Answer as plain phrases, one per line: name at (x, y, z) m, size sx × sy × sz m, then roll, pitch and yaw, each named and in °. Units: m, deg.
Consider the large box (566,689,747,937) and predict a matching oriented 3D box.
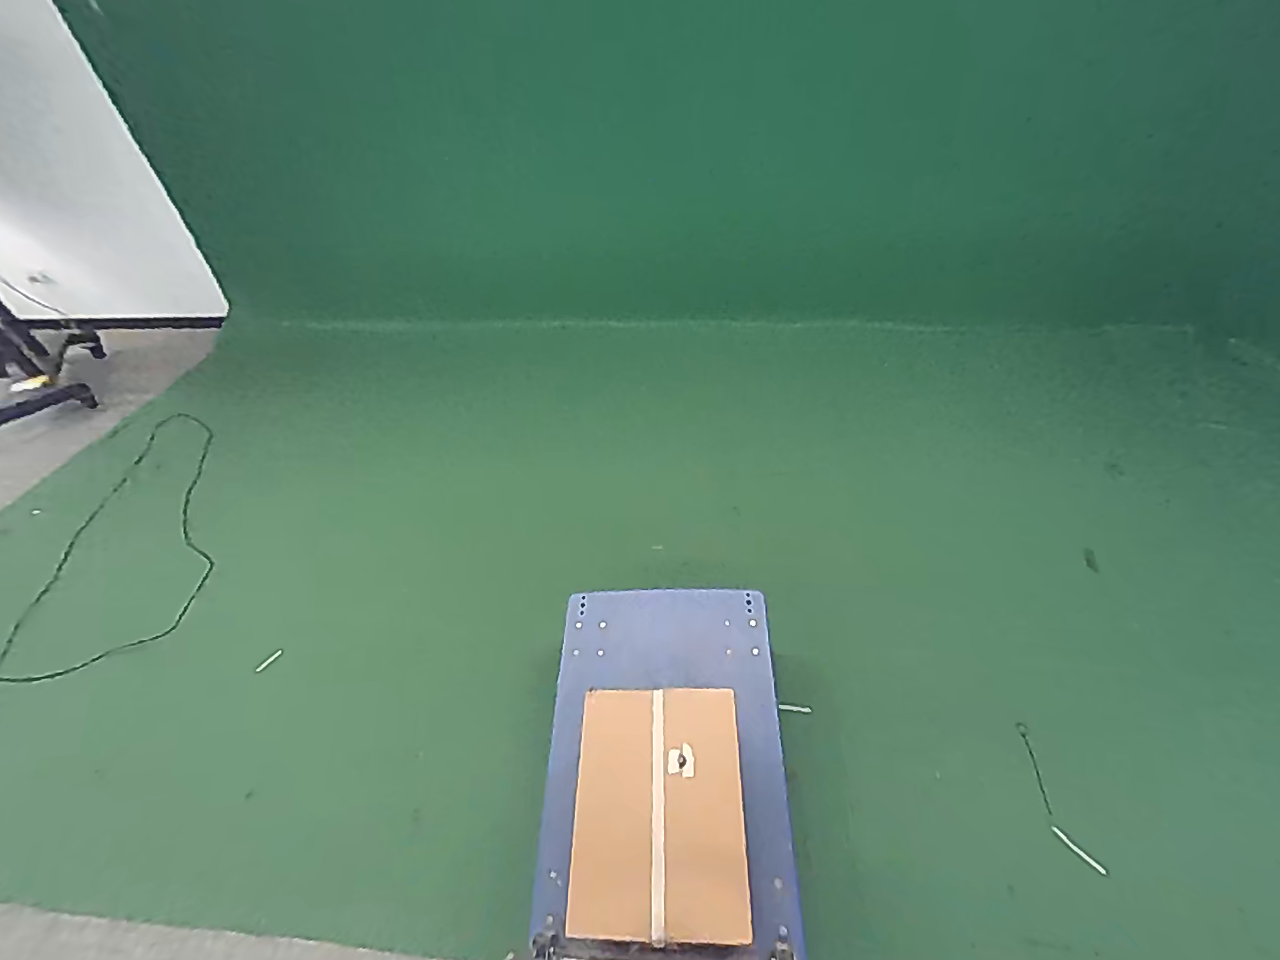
large box at (0.047, 0.693, 1.138) m, size 0.320 × 0.320 × 0.408 m, roll -2°, pitch 52°, yaw 6°
